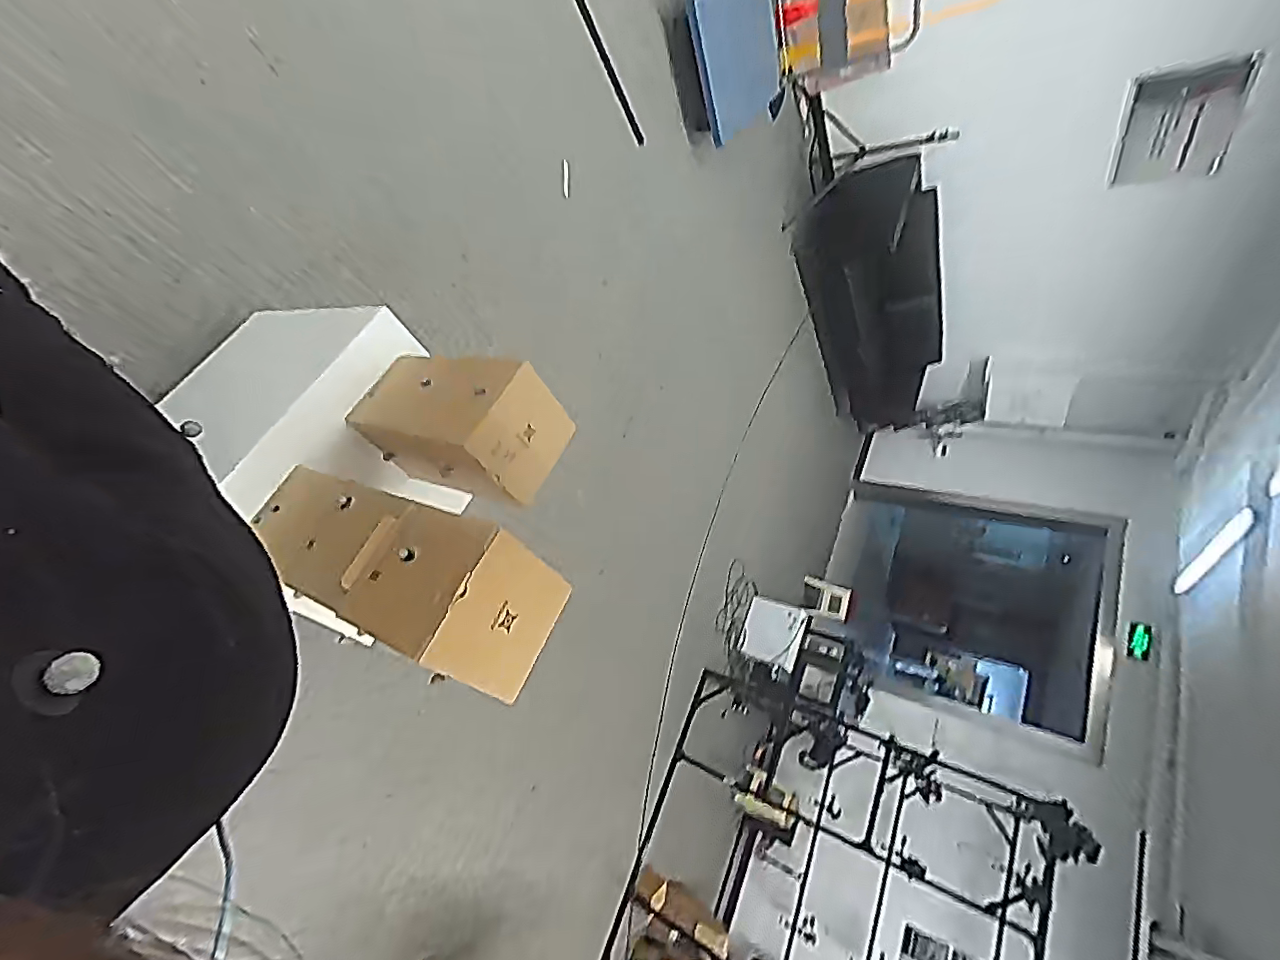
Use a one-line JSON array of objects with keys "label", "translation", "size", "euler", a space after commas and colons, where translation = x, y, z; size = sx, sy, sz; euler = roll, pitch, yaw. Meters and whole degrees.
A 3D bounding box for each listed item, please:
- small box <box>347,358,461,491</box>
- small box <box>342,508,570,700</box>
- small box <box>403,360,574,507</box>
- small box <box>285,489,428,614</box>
[{"label": "small box", "translation": [-0.381, -0.107, 0.984], "size": [0.168, 0.176, 0.179], "euler": [-62, 144, -25]}, {"label": "small box", "translation": [-0.229, 0.152, 0.693], "size": [0.168, 0.176, 0.179], "euler": [-63, 143, -23]}, {"label": "small box", "translation": [-0.247, -0.083, 0.890], "size": [0.179, 0.176, 0.168], "euler": [-61, 142, -24]}, {"label": "small box", "translation": [-0.361, 0.127, 0.784], "size": [0.168, 0.176, 0.179], "euler": [-63, 144, -23]}]
